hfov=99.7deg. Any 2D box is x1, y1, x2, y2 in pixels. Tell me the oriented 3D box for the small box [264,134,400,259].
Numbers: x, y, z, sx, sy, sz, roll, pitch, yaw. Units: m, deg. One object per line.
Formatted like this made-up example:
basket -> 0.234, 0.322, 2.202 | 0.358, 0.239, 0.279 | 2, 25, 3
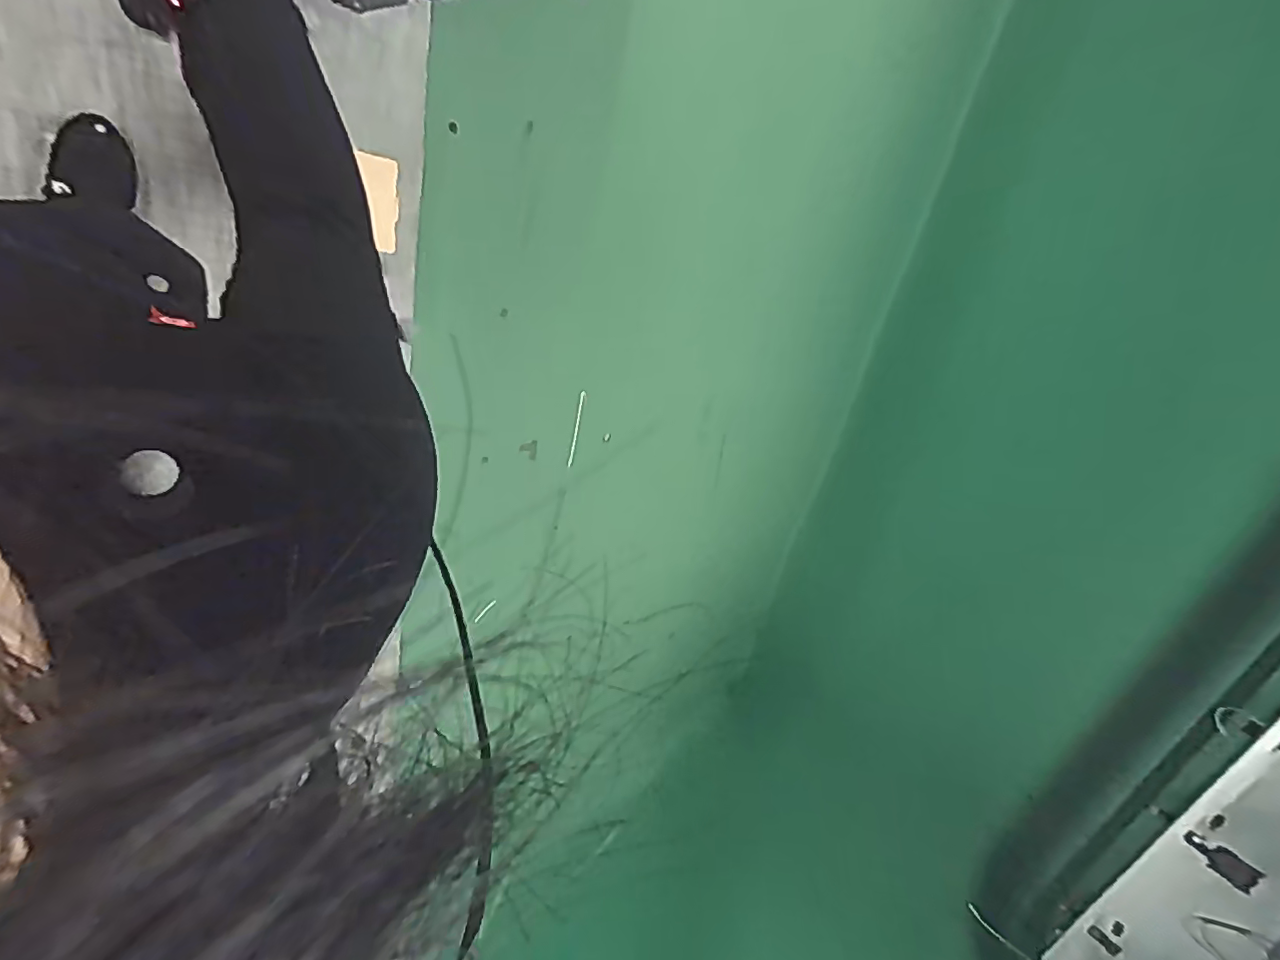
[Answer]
small box -> -0.581, -0.533, 1.019 | 0.179, 0.176, 0.168 | -11, 125, -46
